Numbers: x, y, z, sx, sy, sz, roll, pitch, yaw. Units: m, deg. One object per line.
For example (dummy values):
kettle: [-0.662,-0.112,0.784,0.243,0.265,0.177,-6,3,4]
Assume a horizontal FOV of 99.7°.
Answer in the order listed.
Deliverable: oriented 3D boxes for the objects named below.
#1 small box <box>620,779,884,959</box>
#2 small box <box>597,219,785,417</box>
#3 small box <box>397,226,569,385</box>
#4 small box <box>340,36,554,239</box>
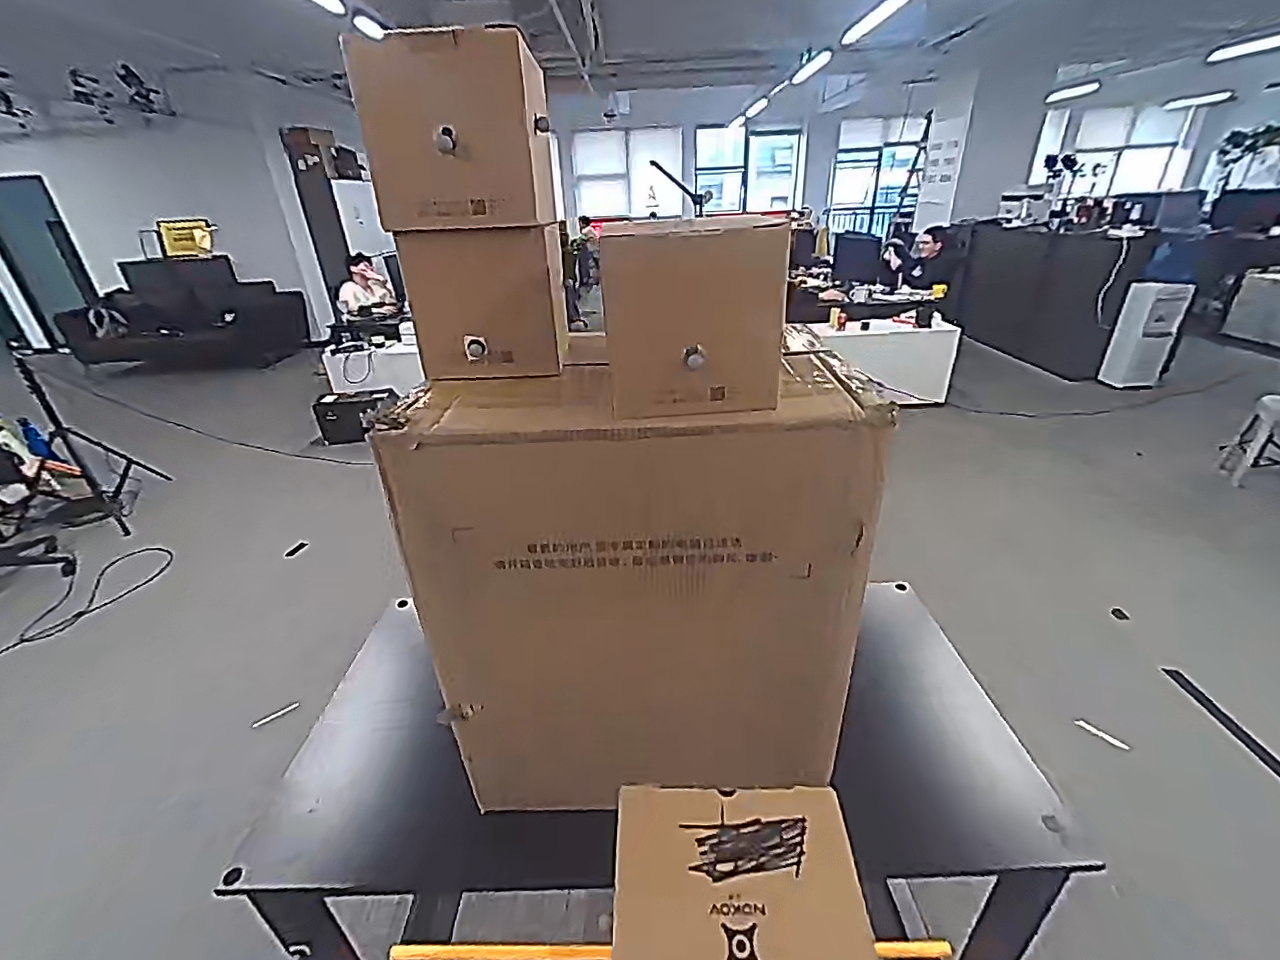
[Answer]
small box: [0.071,0.349,0.397,0.168,0.176,0.179,-2,37,2]
small box: [0.047,-0.176,0.573,0.168,0.176,0.179,-4,29,1]
small box: [-0.184,-0.228,0.695,0.168,0.176,0.179,-4,28,-2]
small box: [-0.194,-0.366,0.606,0.168,0.176,0.179,-3,28,-1]
